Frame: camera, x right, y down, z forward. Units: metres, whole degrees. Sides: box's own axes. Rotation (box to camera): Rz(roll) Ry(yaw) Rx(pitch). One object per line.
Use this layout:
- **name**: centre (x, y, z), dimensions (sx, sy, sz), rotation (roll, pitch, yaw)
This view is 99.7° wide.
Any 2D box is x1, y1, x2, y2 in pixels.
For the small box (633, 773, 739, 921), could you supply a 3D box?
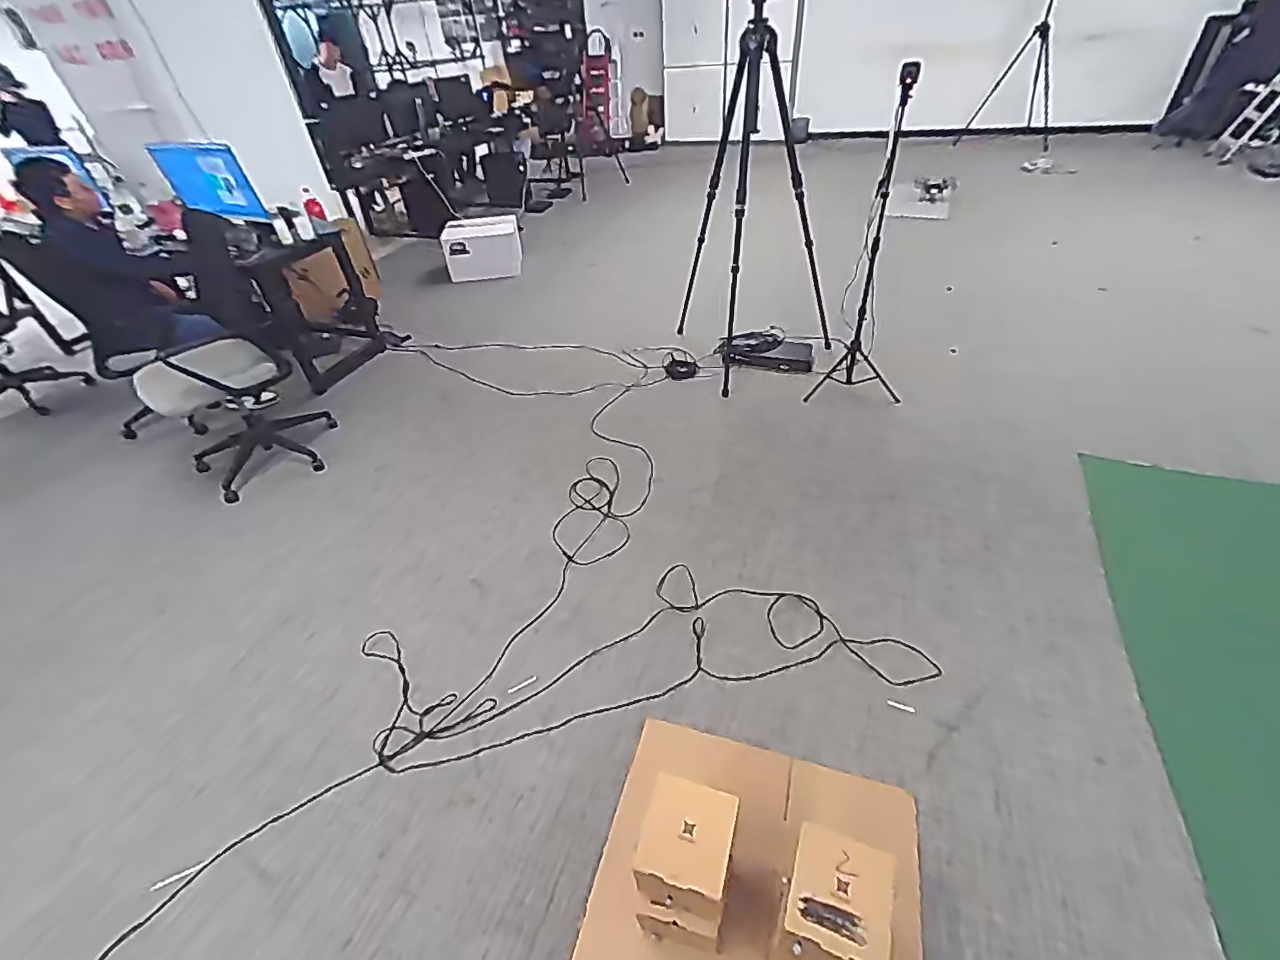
- **small box**: centre (0.093, 0.725, 1.071), dimensions (0.168, 0.176, 0.179), rotation (10, 42, 17)

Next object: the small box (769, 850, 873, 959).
- **small box**: centre (0.361, 0.900, 1.092), dimensions (0.168, 0.176, 0.179), rotation (11, 44, 20)

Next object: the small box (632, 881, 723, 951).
- **small box**: centre (0.092, 0.866, 1.158), dimensions (0.168, 0.176, 0.179), rotation (7, 42, 15)
